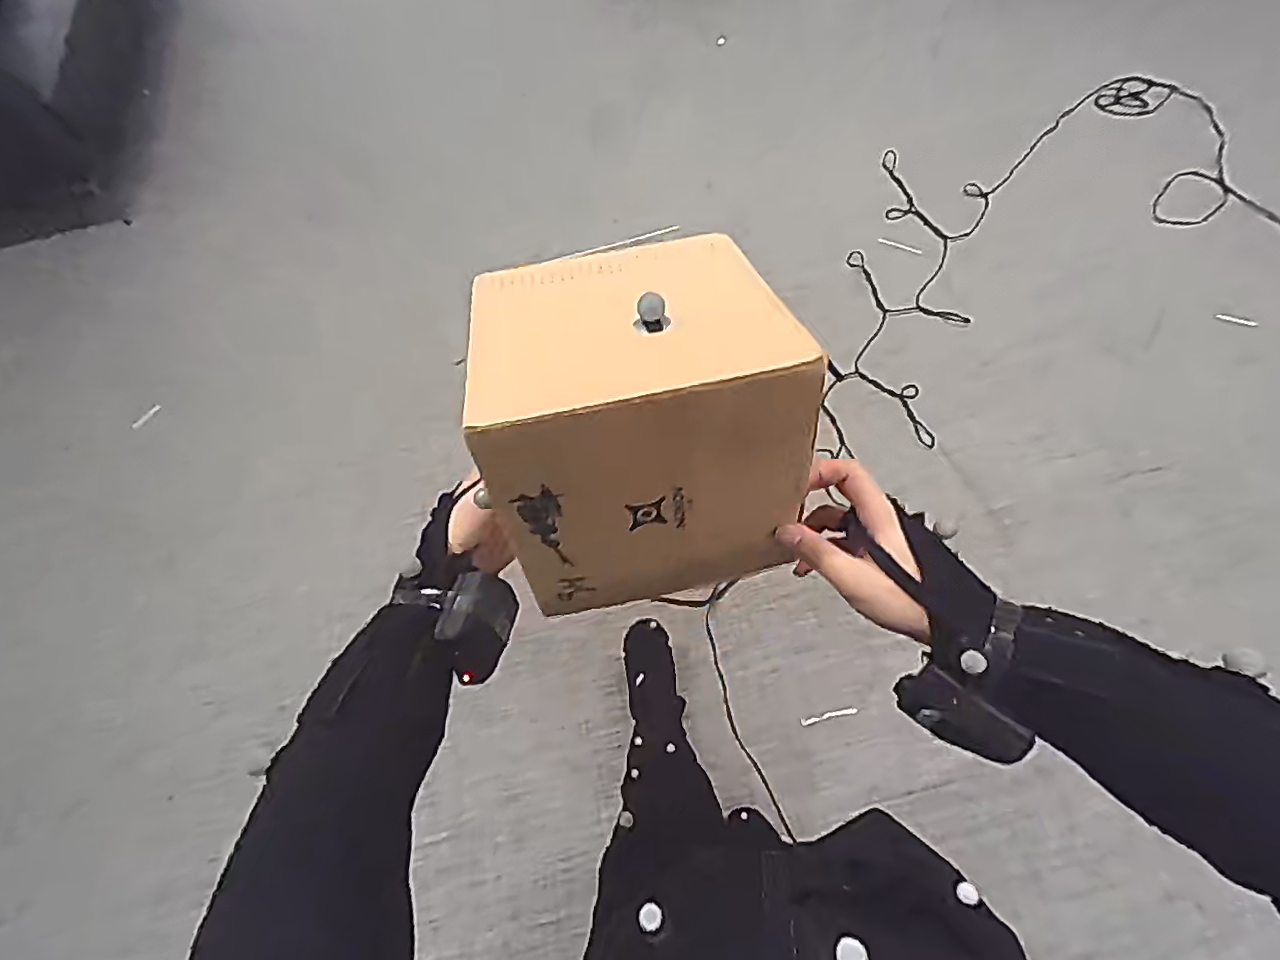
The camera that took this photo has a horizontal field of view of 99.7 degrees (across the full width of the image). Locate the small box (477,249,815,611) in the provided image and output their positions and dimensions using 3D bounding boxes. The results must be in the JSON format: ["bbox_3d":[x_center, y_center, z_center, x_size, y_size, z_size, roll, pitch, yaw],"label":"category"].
[{"bbox_3d":[-0.006,-0.041,0.377,0.179,0.168,0.176,-13,45,-5],"label":"small box"}]
